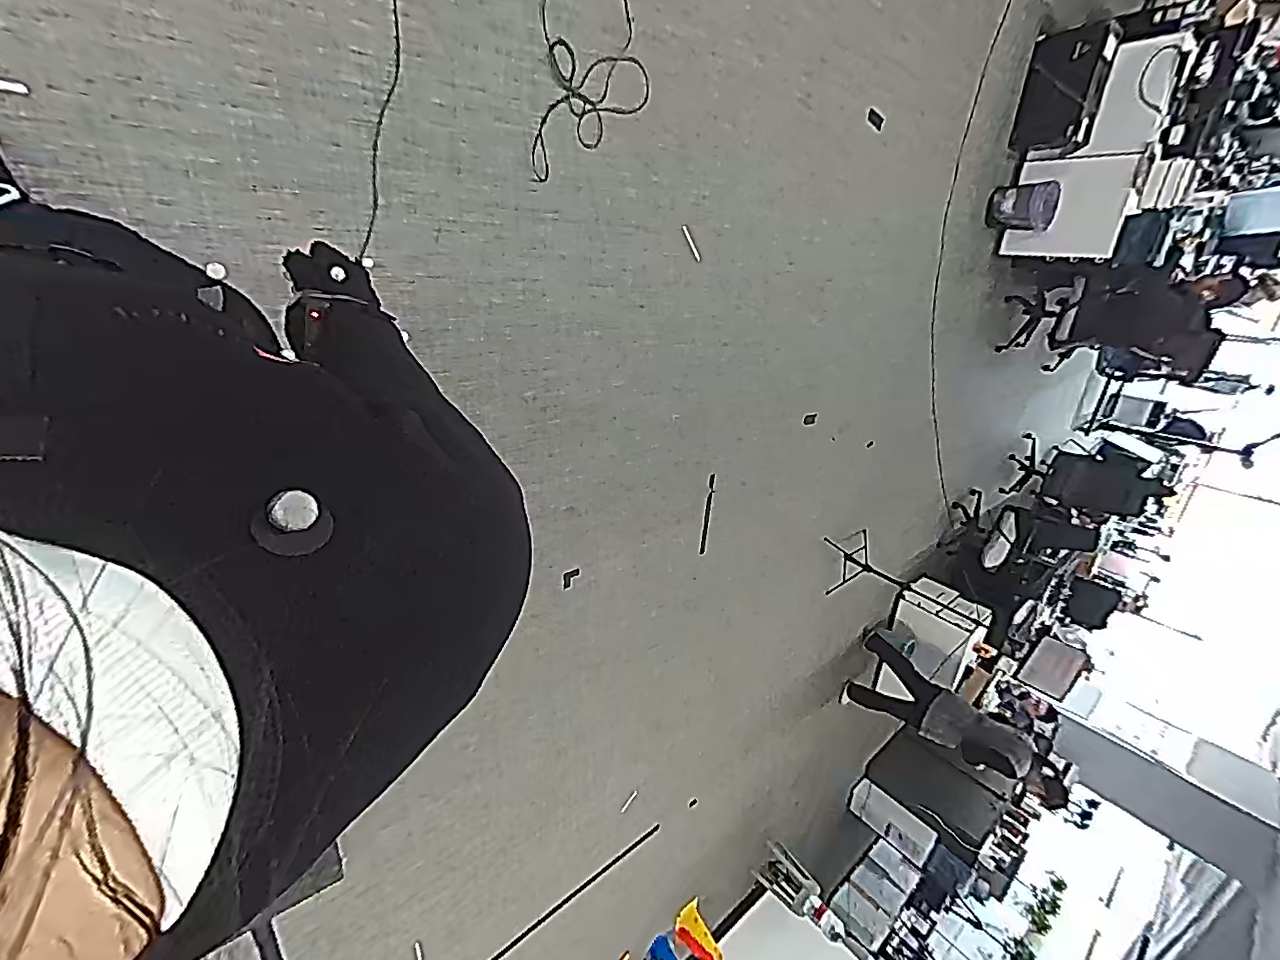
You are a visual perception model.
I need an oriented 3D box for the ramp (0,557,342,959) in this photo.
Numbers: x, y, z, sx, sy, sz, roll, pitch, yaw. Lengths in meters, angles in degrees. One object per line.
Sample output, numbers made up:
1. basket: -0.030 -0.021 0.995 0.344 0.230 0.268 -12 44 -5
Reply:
1. ramp: -1.080 0.714 1.320 0.509 0.206 0.991 -14 118 -37
